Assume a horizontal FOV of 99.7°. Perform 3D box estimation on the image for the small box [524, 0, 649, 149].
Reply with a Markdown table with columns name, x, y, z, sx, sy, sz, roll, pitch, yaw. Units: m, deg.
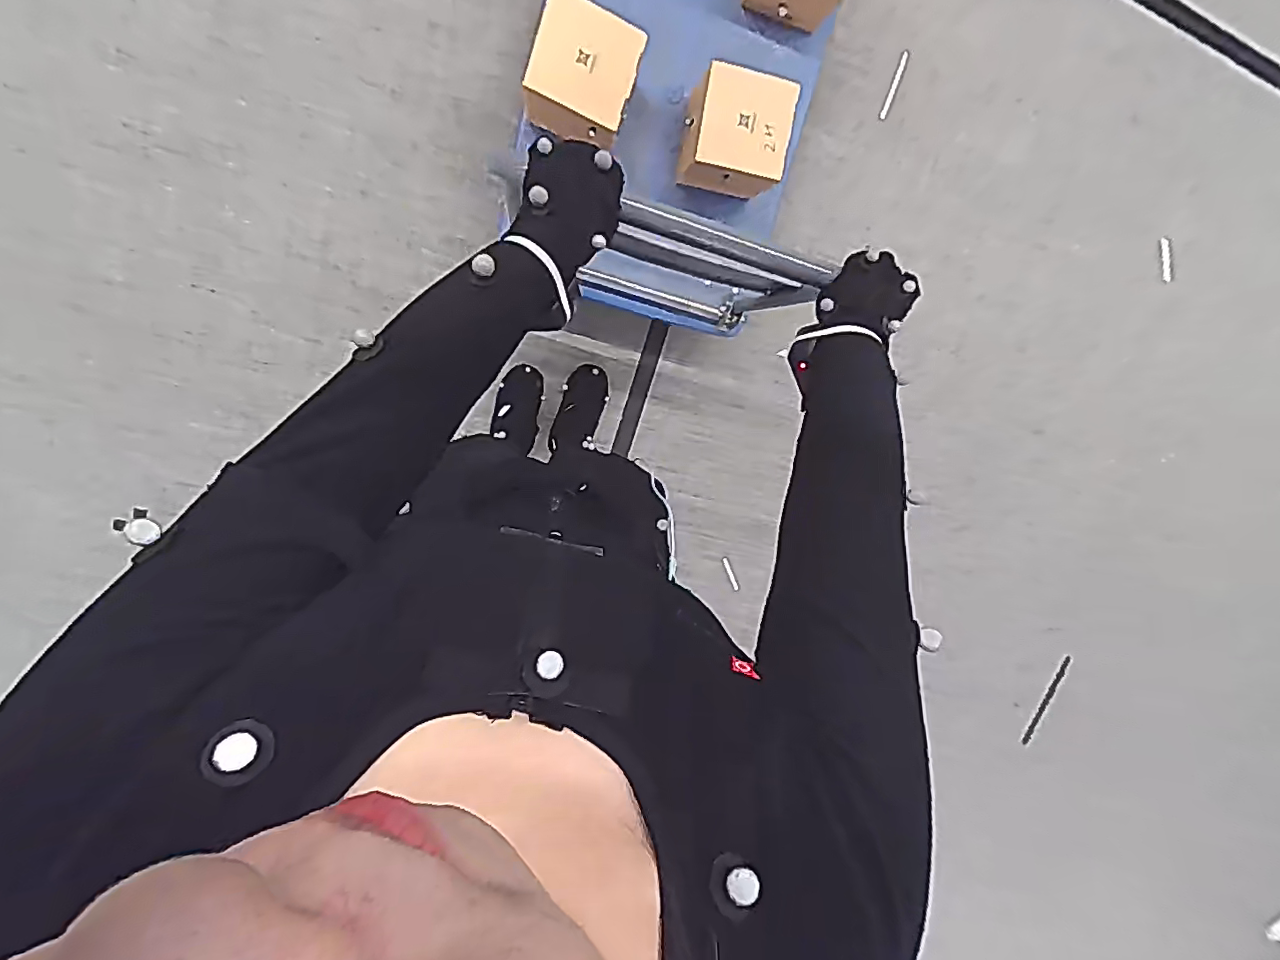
| name | x | y | z | sx | sy | sz | roll | pitch | yaw |
| --- | --- | --- | --- | --- | --- | --- | --- | --- | --- |
| small box | -0.107 | -0.753 | 1.007 | 0.179 | 0.176 | 0.168 | 18 | 102 | -16 |

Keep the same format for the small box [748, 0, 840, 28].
| name | x | y | z | sx | sy | sz | roll | pitch | yaw |
| --- | --- | --- | --- | --- | --- | --- | --- | --- | --- |
| small box | 0.313 | -1.003 | 1.003 | 0.168 | 0.176 | 0.179 | 11 | 106 | -13 |

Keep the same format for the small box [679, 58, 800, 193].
| name | x | y | z | sx | sy | sz | roll | pitch | yaw |
| --- | --- | --- | --- | --- | --- | --- | --- | --- | --- |
| small box | 0.186 | -0.690 | 1.076 | 0.179 | 0.176 | 0.168 | 7 | 106 | -12 |
